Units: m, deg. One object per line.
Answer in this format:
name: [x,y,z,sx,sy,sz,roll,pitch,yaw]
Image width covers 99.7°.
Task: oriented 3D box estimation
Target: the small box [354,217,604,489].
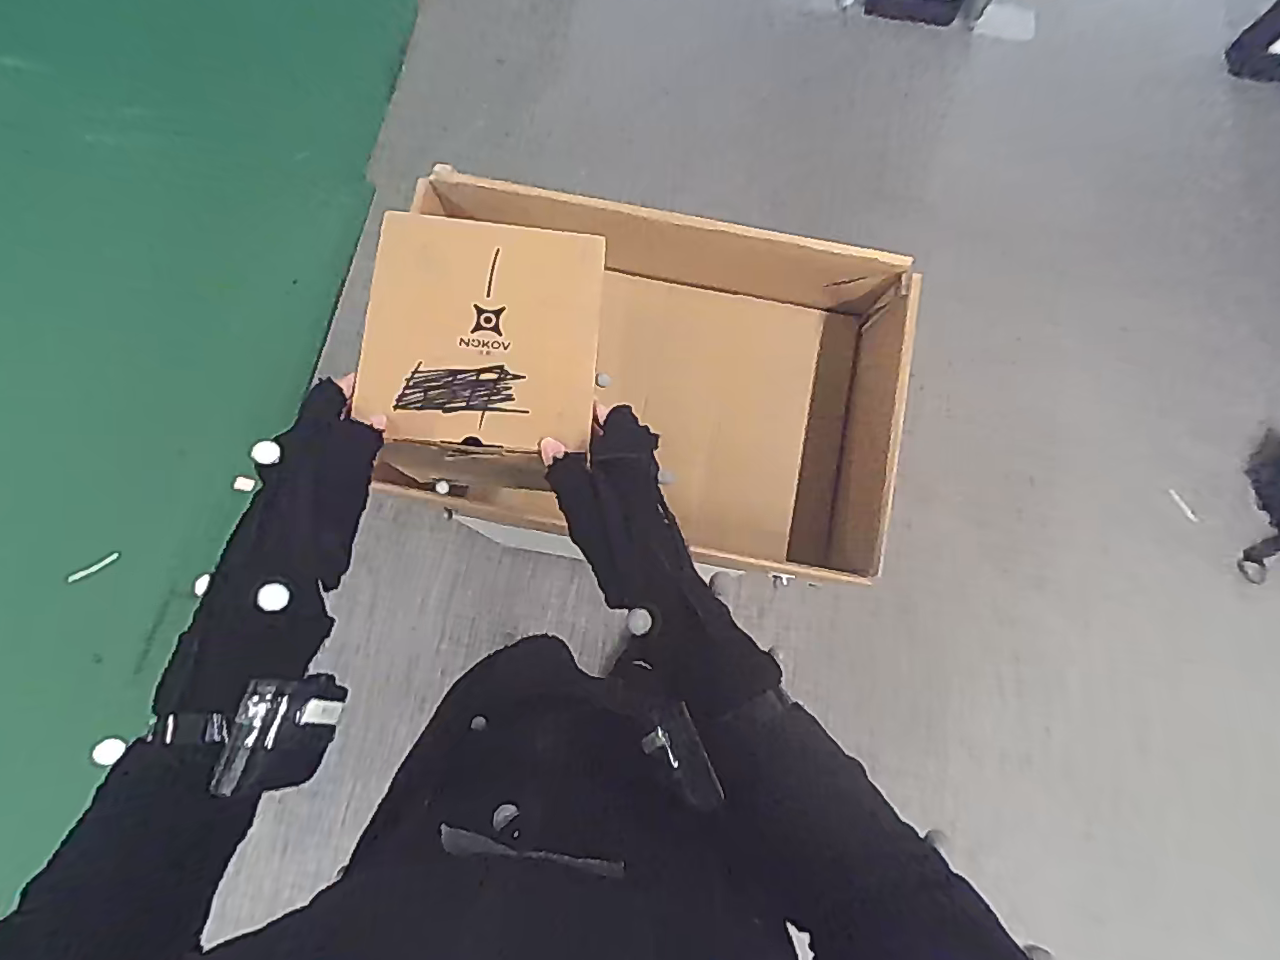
small box: [-0.122,-0.093,0.477,0.168,0.176,0.179,5,78,-5]
